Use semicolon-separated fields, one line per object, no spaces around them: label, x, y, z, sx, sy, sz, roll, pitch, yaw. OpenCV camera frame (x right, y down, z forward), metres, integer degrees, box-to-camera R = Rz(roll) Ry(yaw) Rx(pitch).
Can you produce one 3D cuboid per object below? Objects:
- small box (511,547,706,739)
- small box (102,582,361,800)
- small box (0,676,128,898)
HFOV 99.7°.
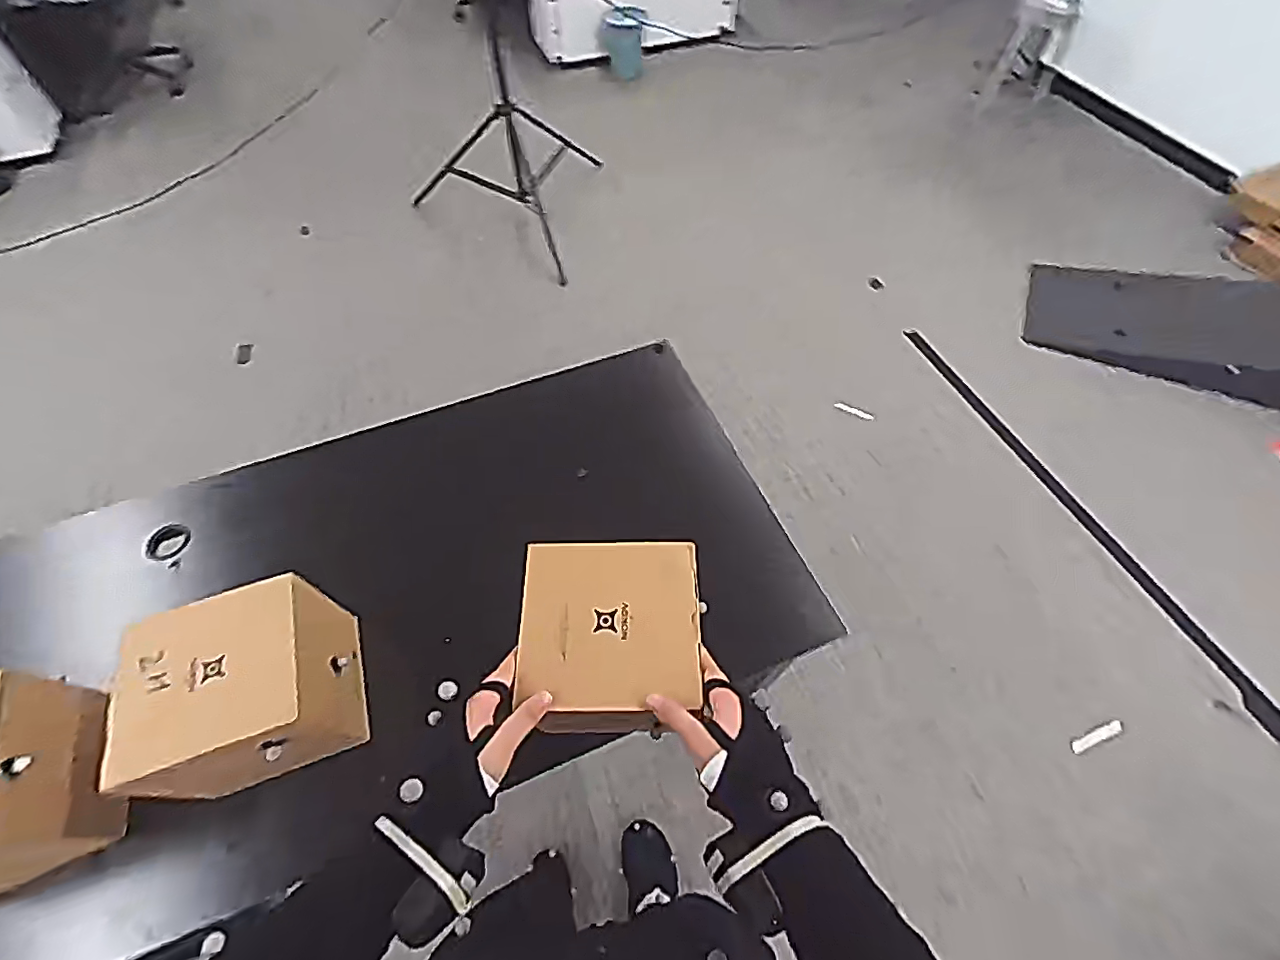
small box;-0.026;0.182;0.589;0.179;0.176;0.168;-2;58;2
small box;-0.441;0.244;0.618;0.179;0.176;0.168;-19;59;-11
small box;-0.693;0.335;0.563;0.179;0.176;0.168;-22;60;-13
